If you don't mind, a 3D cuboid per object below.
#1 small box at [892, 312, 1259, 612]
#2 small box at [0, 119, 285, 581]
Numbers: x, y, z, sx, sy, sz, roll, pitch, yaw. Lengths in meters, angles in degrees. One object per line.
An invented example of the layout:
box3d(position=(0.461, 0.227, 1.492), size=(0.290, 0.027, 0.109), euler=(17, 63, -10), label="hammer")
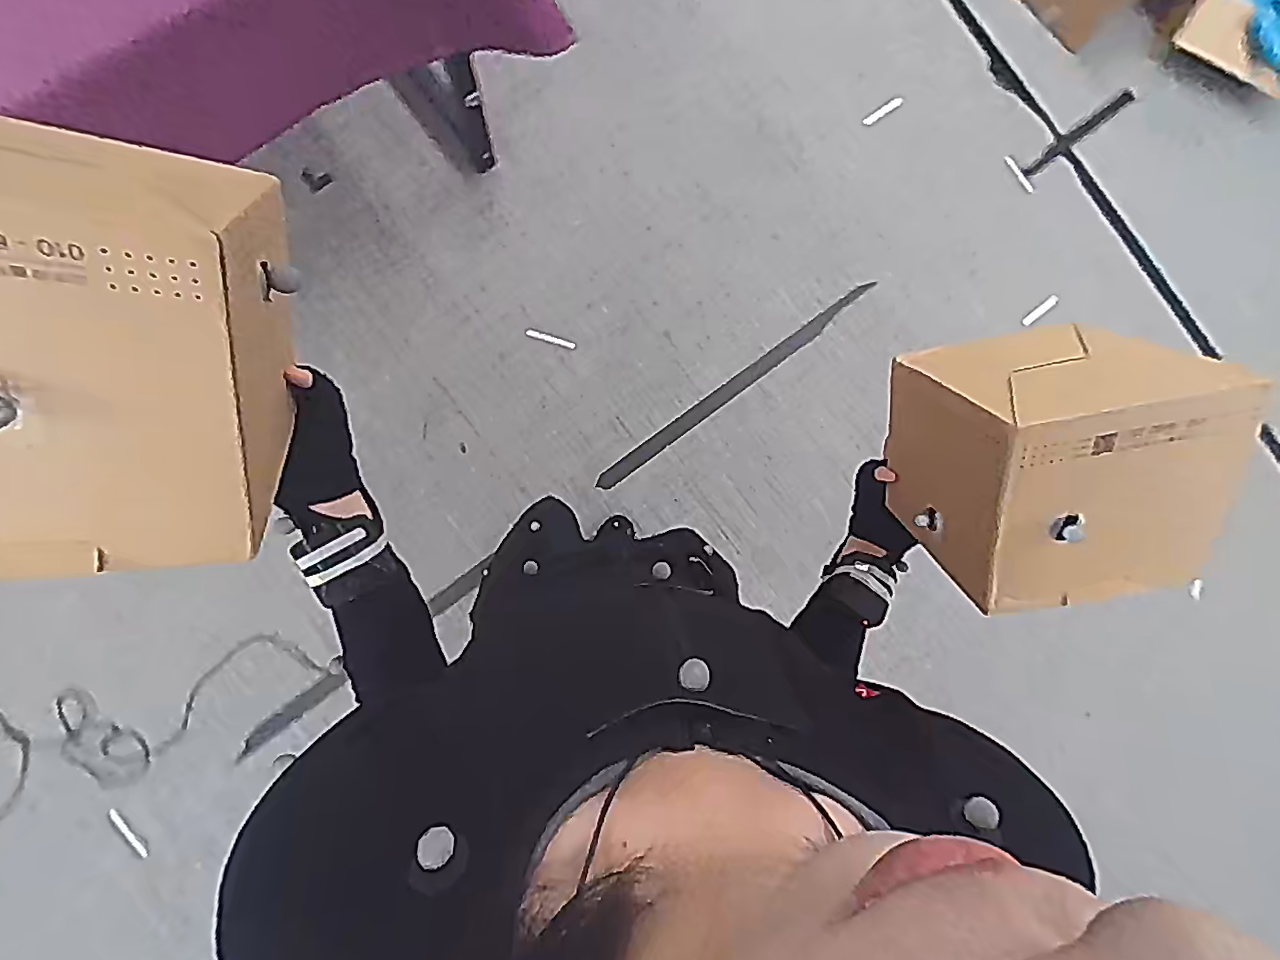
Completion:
box3d(position=(0.327, -0.025, 0.441), size=(0.168, 0.179, 0.176), euler=(-10, 118, 2), label="small box")
box3d(position=(-0.284, -0.070, 0.260), size=(0.168, 0.179, 0.176), euler=(0, 122, -26), label="small box")
